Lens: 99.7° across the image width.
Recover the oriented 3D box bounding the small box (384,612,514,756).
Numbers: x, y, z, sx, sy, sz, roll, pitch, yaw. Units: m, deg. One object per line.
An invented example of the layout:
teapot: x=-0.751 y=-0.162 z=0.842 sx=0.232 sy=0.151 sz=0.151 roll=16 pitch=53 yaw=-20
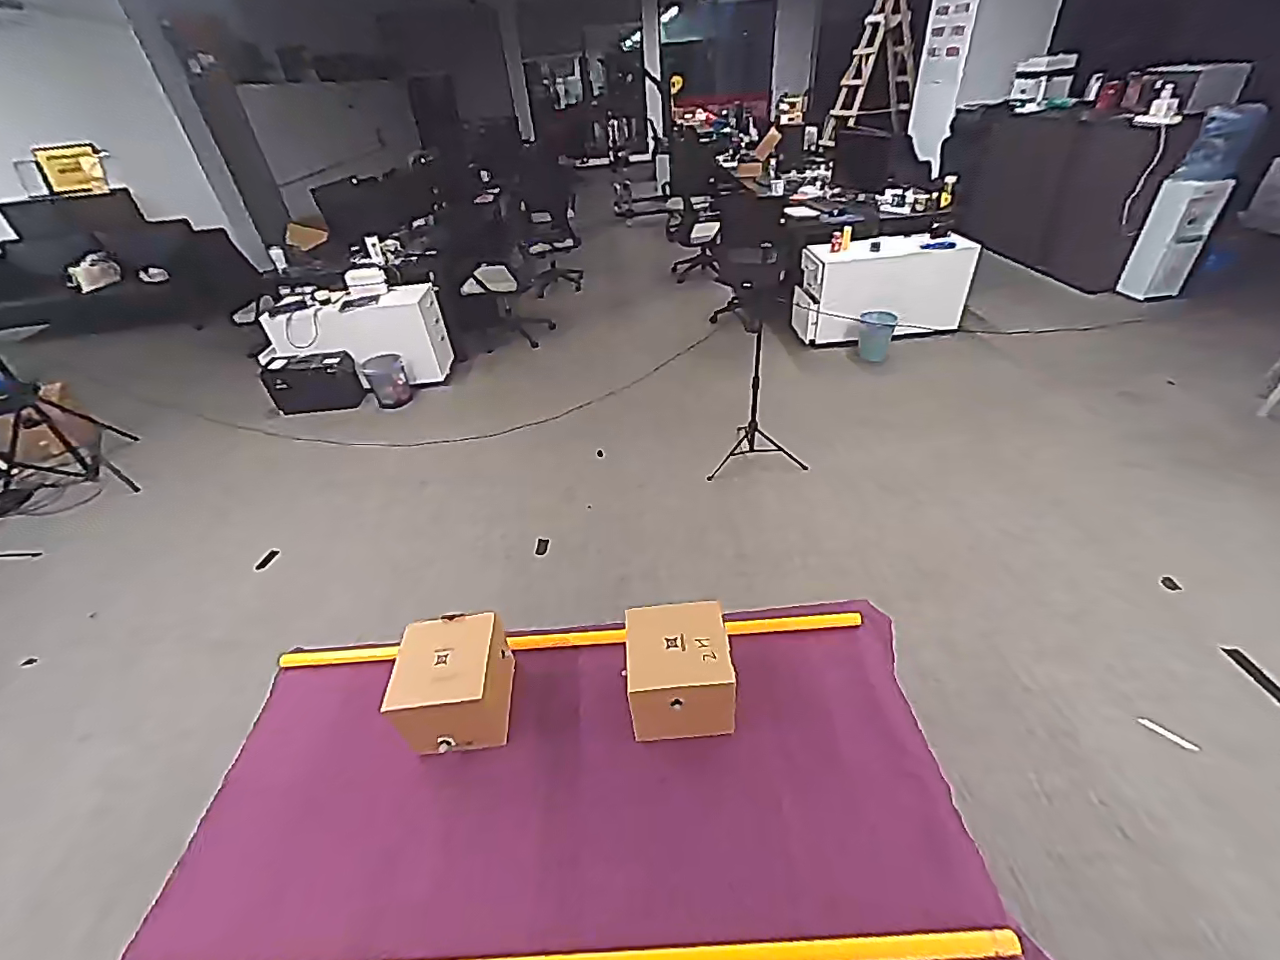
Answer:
small box: x=-0.331 y=0.369 z=0.980 sx=0.168 sy=0.176 sz=0.179 roll=-7 pitch=38 yaw=-1

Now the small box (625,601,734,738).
small box: x=0.069 y=0.340 z=0.965 sx=0.179 sy=0.176 sz=0.168 roll=-5 pitch=39 yaw=1
